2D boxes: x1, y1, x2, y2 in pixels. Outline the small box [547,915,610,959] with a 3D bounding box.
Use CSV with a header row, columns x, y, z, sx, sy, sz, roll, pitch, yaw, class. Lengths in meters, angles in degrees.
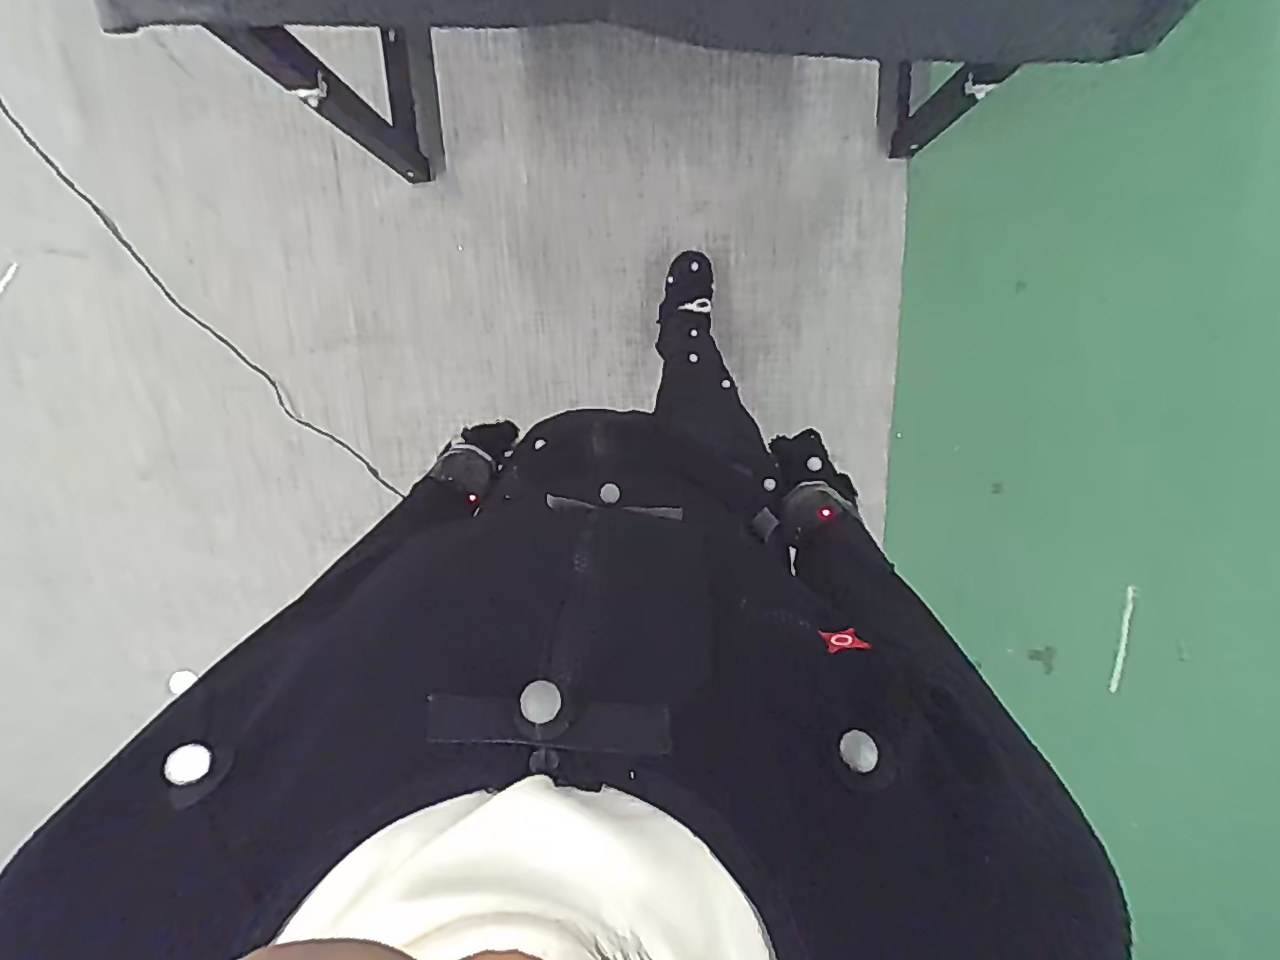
x,y,z,sx,sy,sz,roll,pitch,yaw,class
-0.184,1.463,1.639,0.179,0.176,0.168,-4,103,1,small box
